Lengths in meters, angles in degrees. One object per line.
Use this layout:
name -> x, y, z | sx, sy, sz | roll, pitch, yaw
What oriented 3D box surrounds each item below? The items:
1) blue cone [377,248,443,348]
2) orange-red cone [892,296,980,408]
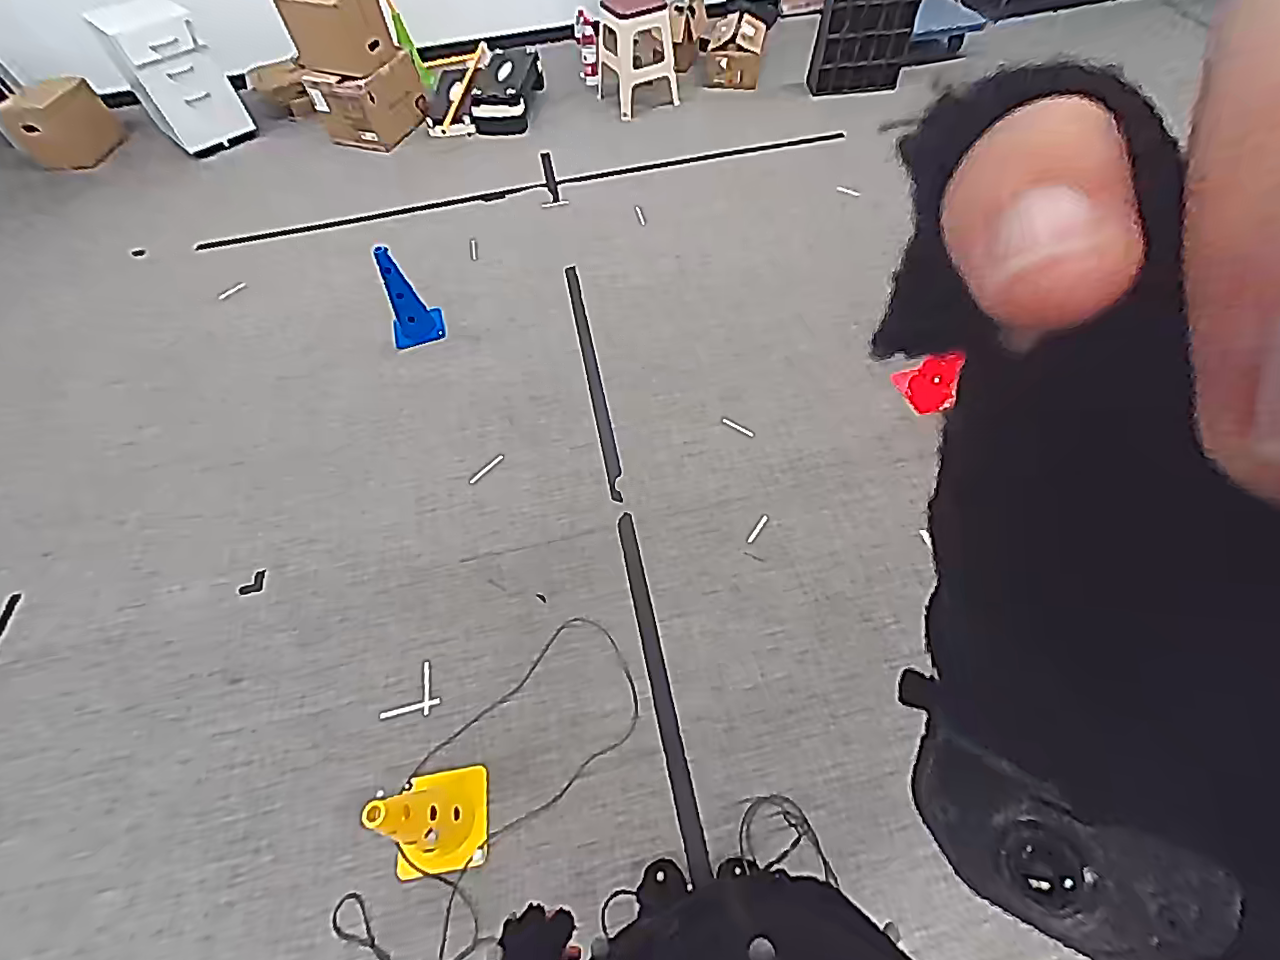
blue cone -> -0.917, -0.707, 2.071 | 0.192, 0.380, 0.193 | -17, 57, -7
orange-red cone -> 0.993, -0.432, 1.739 | 0.198, 0.360, 0.199 | -16, 55, -7
